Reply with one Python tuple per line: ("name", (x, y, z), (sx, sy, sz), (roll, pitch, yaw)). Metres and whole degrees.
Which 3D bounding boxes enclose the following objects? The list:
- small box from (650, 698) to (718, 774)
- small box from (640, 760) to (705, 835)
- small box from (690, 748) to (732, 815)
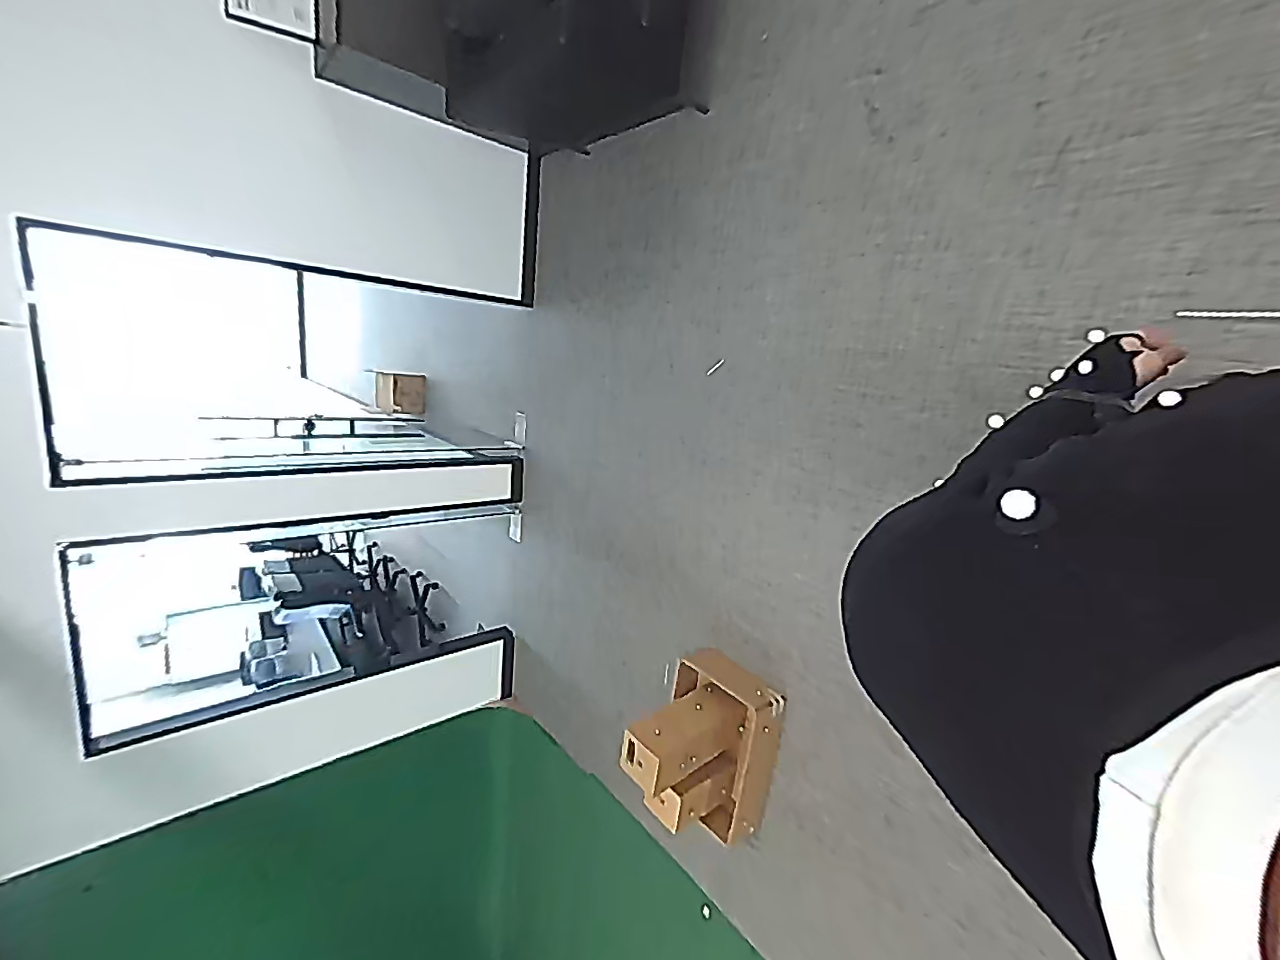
("small box", (0.162, 0.932, 1.996), (0.179, 0.176, 0.168), (21, 111, 46))
("small box", (0.127, 1.187, 2.058), (0.179, 0.176, 0.168), (20, 108, 46))
("small box", (0.246, 1.182, 2.167), (0.179, 0.176, 0.168), (21, 109, 45))
